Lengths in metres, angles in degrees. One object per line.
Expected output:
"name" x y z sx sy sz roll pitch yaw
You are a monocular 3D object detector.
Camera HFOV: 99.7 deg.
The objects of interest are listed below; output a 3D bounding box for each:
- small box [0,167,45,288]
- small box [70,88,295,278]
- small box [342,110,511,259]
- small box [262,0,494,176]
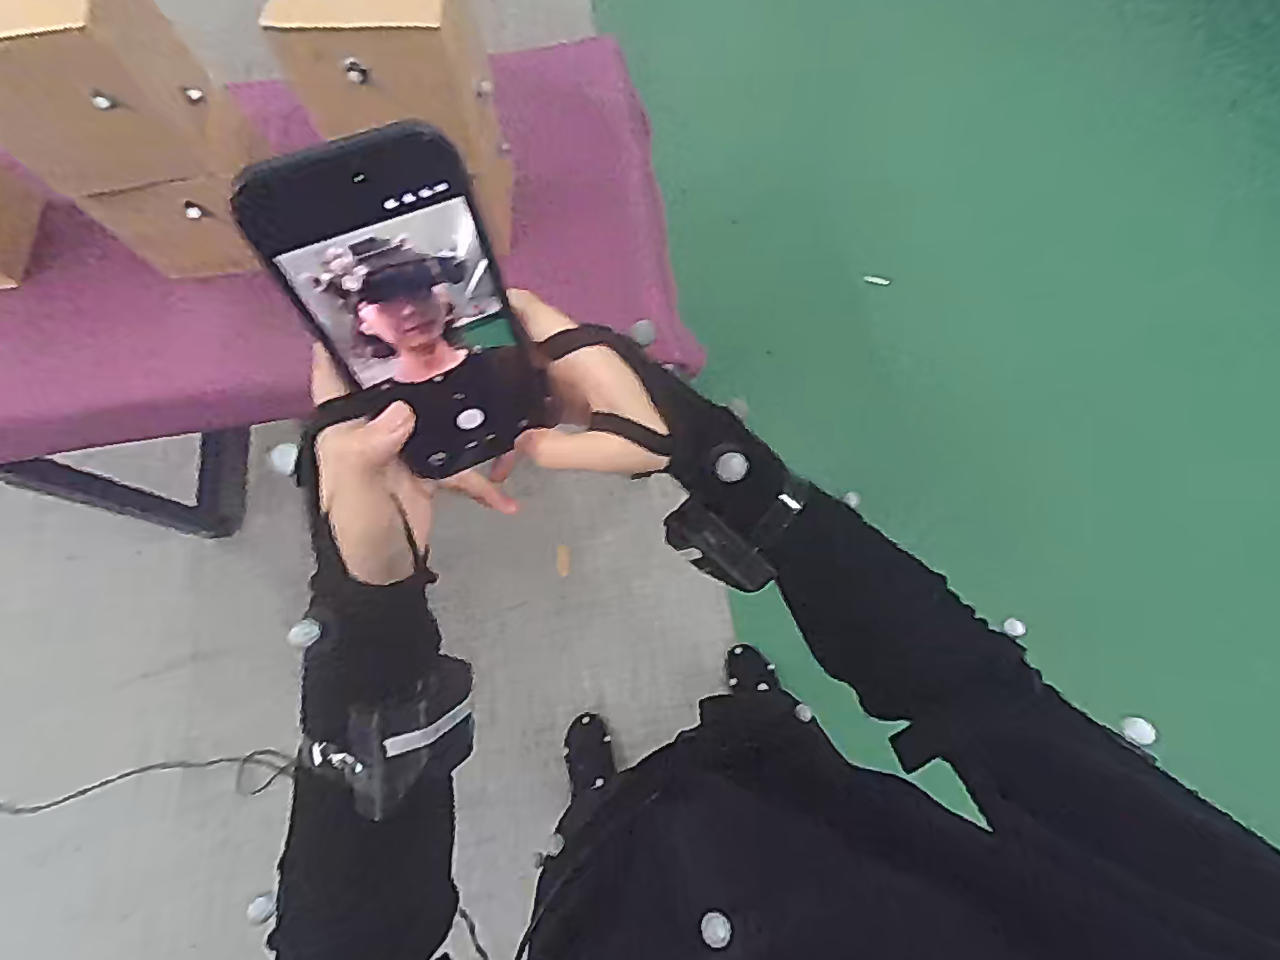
"small box" -1.021 -0.388 0.767 0.168 0.176 0.179 -6 72 -2
"small box" -0.631 -0.415 0.774 0.179 0.176 0.168 -7 71 -2
"small box" -0.292 -0.442 0.784 0.179 0.176 0.168 -1 71 0
"small box" -0.282 -0.481 0.625 0.179 0.176 0.168 -1 71 -1
